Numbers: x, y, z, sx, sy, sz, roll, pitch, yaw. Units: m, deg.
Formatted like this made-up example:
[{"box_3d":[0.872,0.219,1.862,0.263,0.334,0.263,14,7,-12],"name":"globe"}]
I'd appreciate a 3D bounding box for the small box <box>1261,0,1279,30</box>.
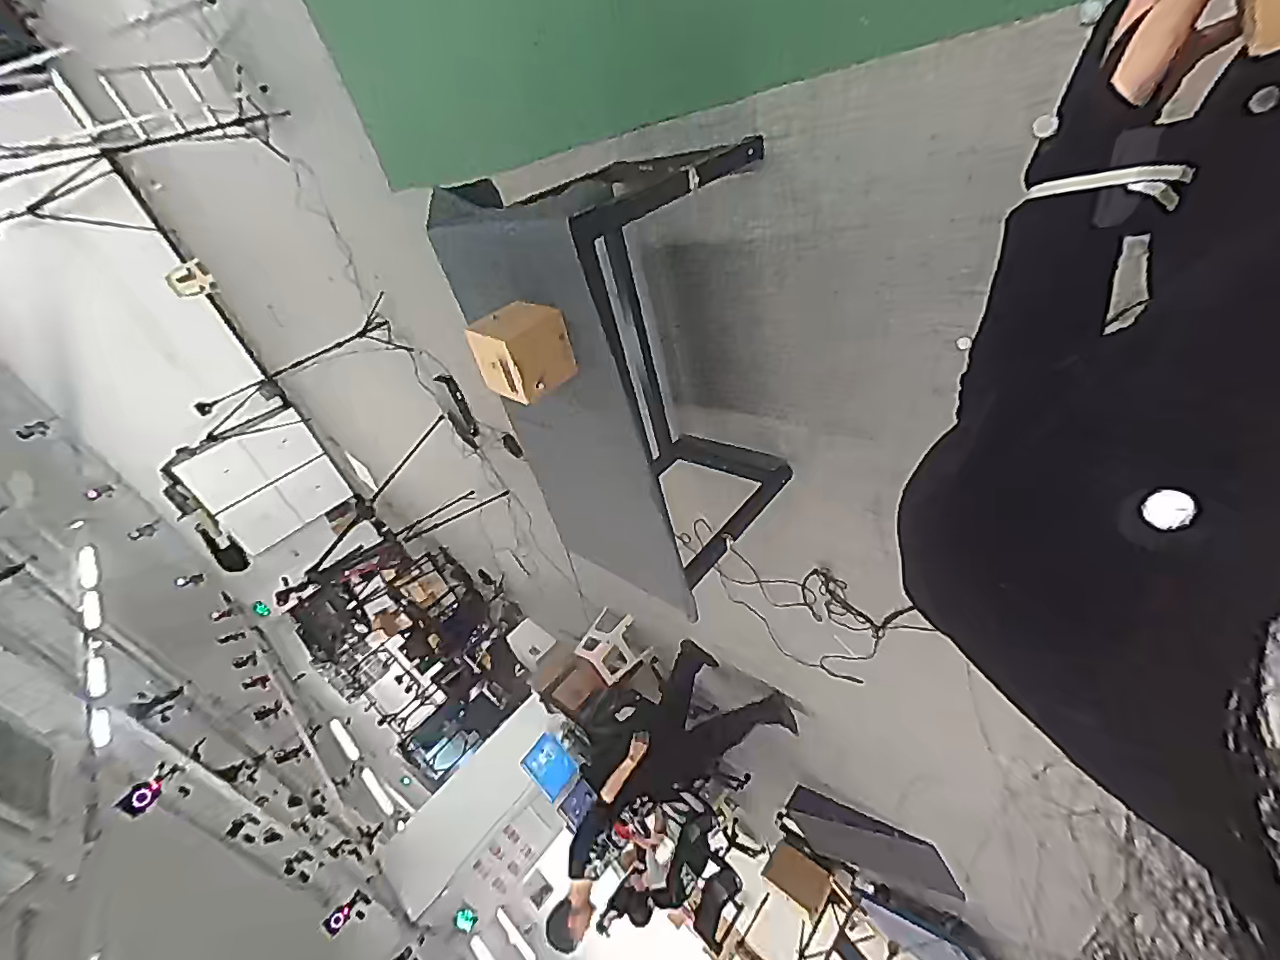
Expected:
[{"box_3d":[0.377,-0.343,0.224,0.168,0.176,0.179,-2,129,46],"name":"small box"}]
